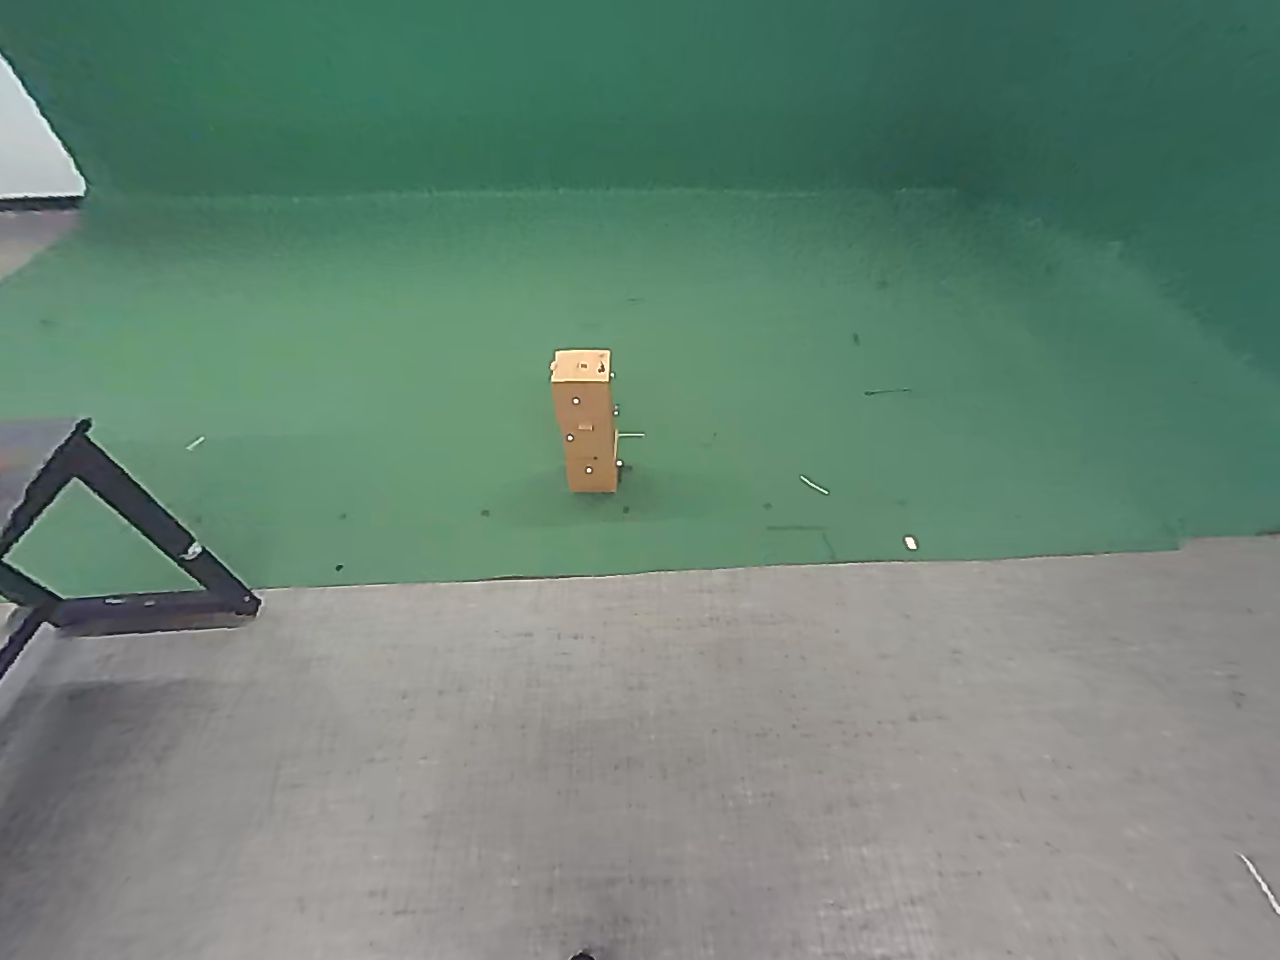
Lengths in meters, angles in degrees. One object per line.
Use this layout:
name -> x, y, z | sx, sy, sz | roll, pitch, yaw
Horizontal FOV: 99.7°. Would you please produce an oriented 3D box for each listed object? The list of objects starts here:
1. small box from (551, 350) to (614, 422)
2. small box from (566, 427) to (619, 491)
small box -> -0.177, -0.295, 1.713 | 0.179, 0.176, 0.168 | -1, 47, 0
small box -> -0.166, -0.074, 1.956 | 0.179, 0.176, 0.168 | 1, 48, 1
